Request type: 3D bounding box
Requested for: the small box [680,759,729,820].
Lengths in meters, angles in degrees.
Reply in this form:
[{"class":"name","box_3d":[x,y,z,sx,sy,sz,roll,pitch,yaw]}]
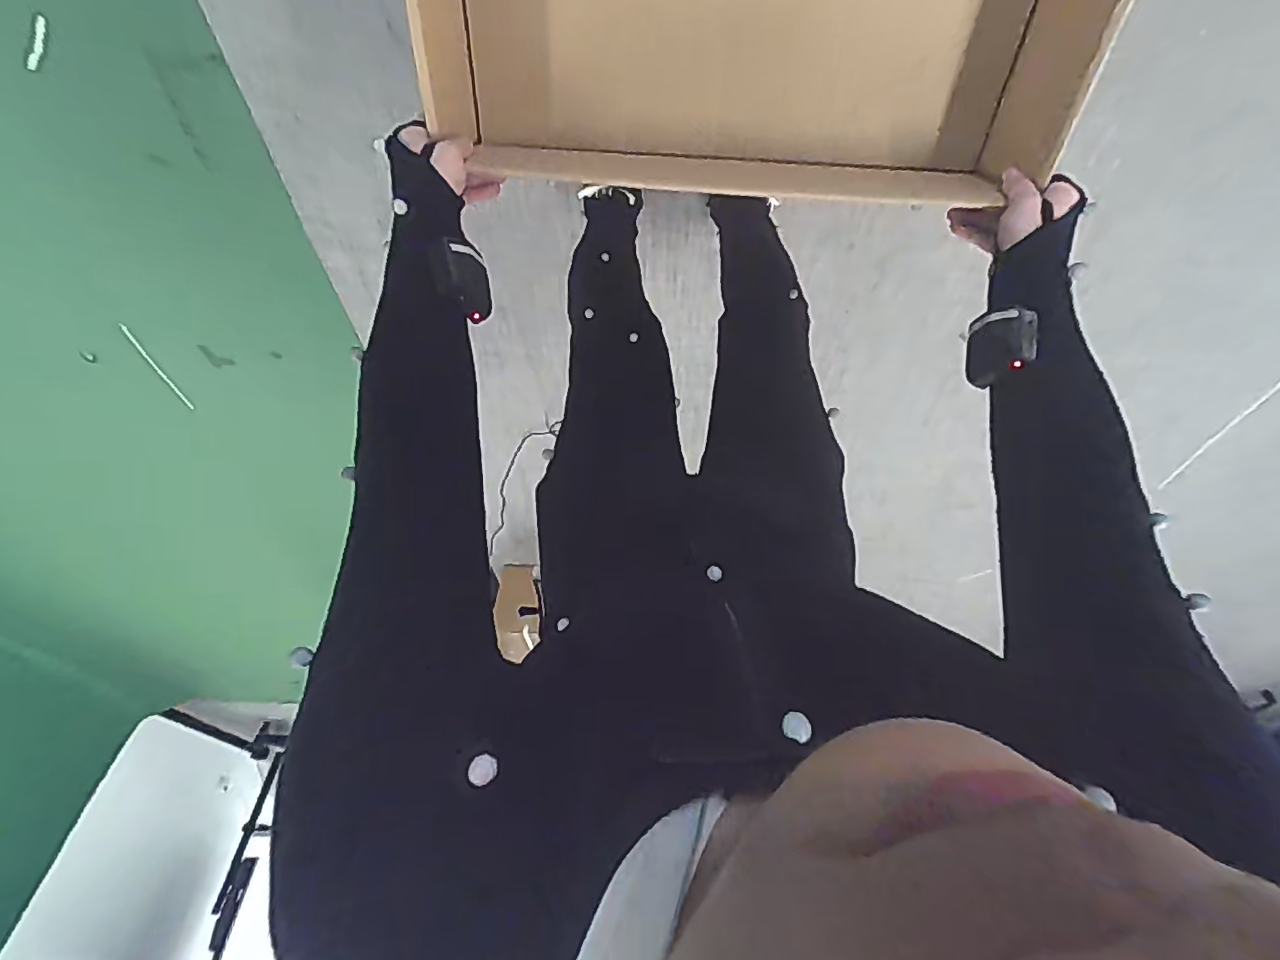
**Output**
[{"class":"small box","box_3d":[0.229,1.123,1.959,0.168,0.176,0.179,1,142,4]}]
